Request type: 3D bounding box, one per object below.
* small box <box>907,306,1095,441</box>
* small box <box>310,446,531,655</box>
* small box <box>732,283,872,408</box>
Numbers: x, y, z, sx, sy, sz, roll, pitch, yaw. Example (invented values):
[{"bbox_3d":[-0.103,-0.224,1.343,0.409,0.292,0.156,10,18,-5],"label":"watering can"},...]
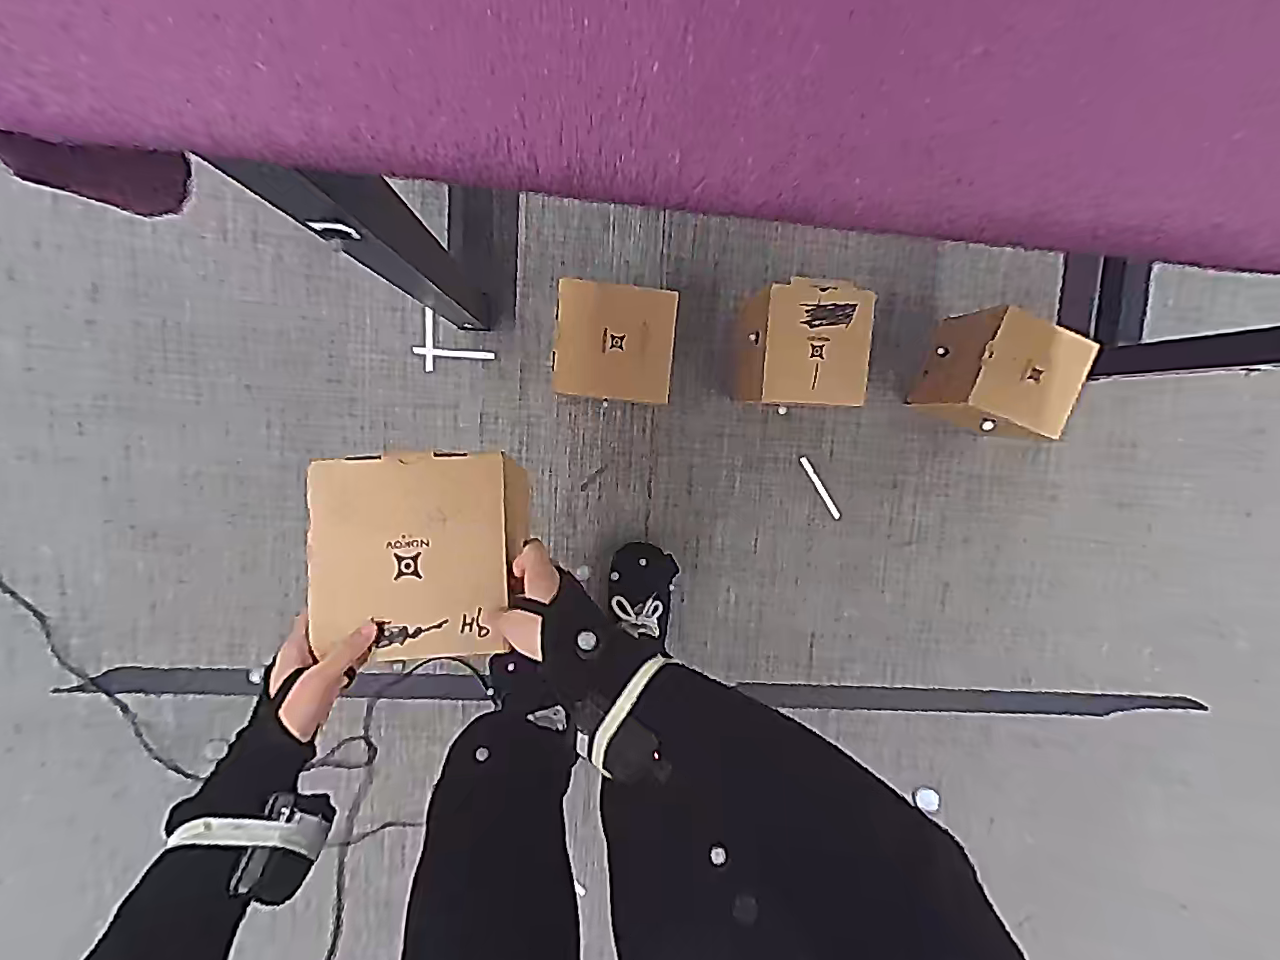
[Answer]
[{"bbox_3d":[0.609,-0.178,0.933,0.179,0.176,0.168,20,95,-7],"label":"small box"},{"bbox_3d":[-0.203,0.067,0.545,0.168,0.176,0.179,-3,84,-5],"label":"small box"},{"bbox_3d":[0.256,-0.211,0.892,0.168,0.176,0.179,2,97,-6],"label":"small box"}]
